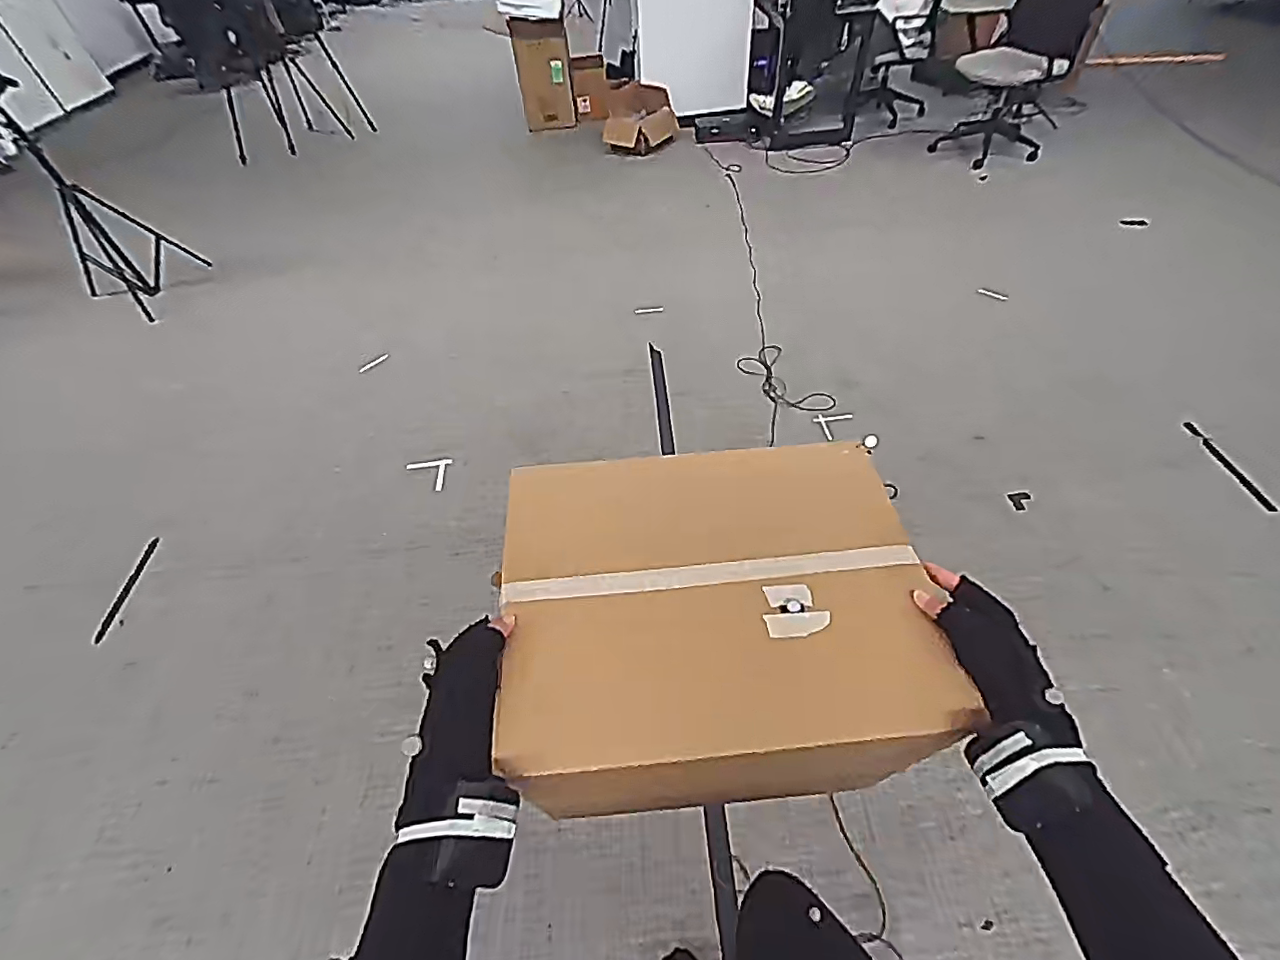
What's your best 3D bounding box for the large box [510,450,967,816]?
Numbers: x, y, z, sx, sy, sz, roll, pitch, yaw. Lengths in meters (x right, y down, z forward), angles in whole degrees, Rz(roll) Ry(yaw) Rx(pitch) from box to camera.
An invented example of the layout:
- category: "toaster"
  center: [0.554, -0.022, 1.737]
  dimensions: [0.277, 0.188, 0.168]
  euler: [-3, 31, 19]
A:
- category: "large box"
  center: [0.073, 0.193, 0.661]
  dimensions: [0.408, 0.320, 0.320]
  euler: [-5, 53, -3]
